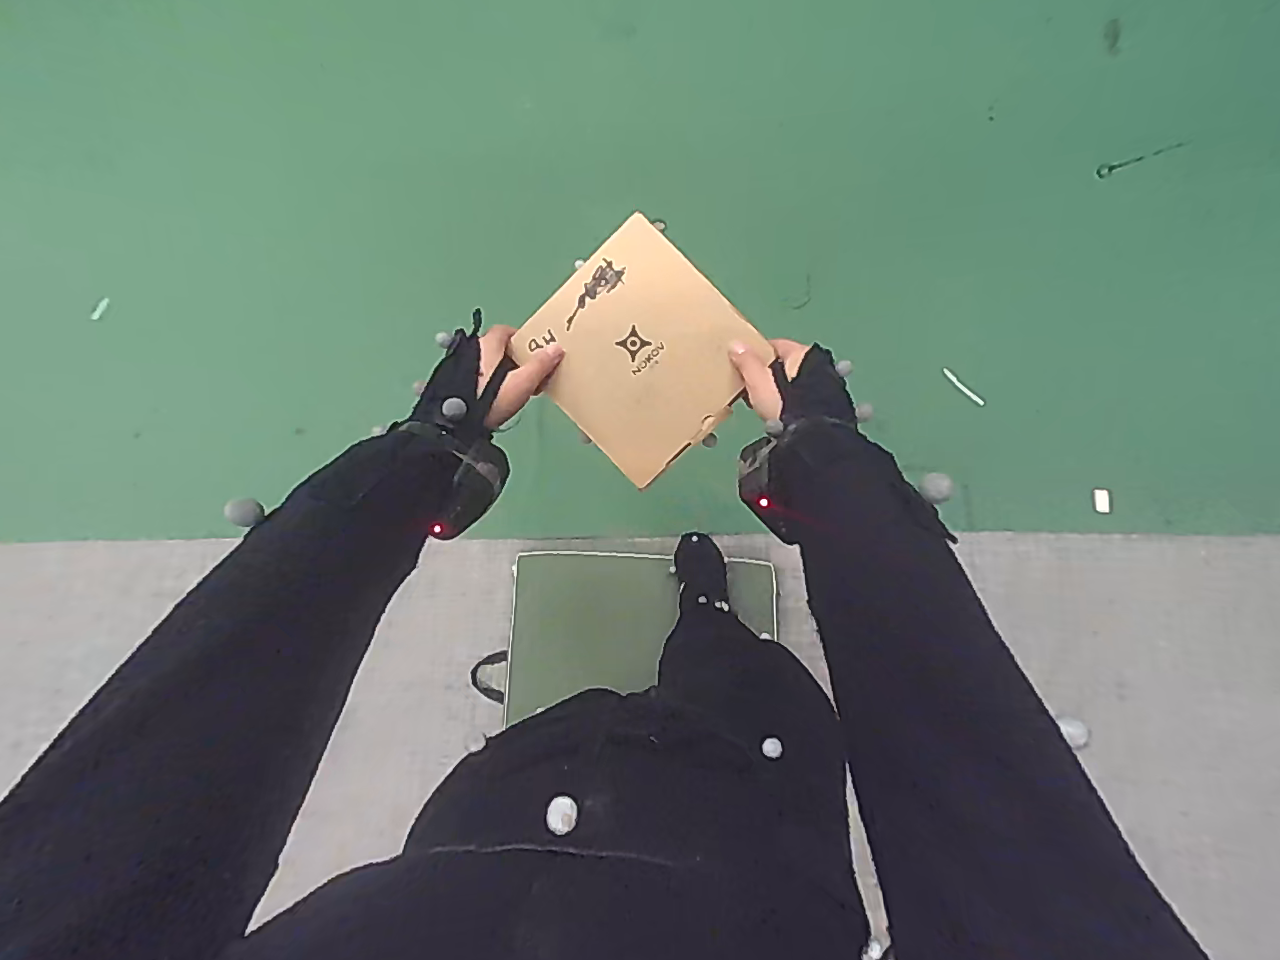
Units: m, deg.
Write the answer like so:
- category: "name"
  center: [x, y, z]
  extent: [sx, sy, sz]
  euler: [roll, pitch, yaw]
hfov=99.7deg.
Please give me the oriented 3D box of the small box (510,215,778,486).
- category: "small box"
  center: [0.005, -0.115, 0.544]
  extent: [0.168, 0.176, 0.179]
  euler: [-44, 90, 2]
